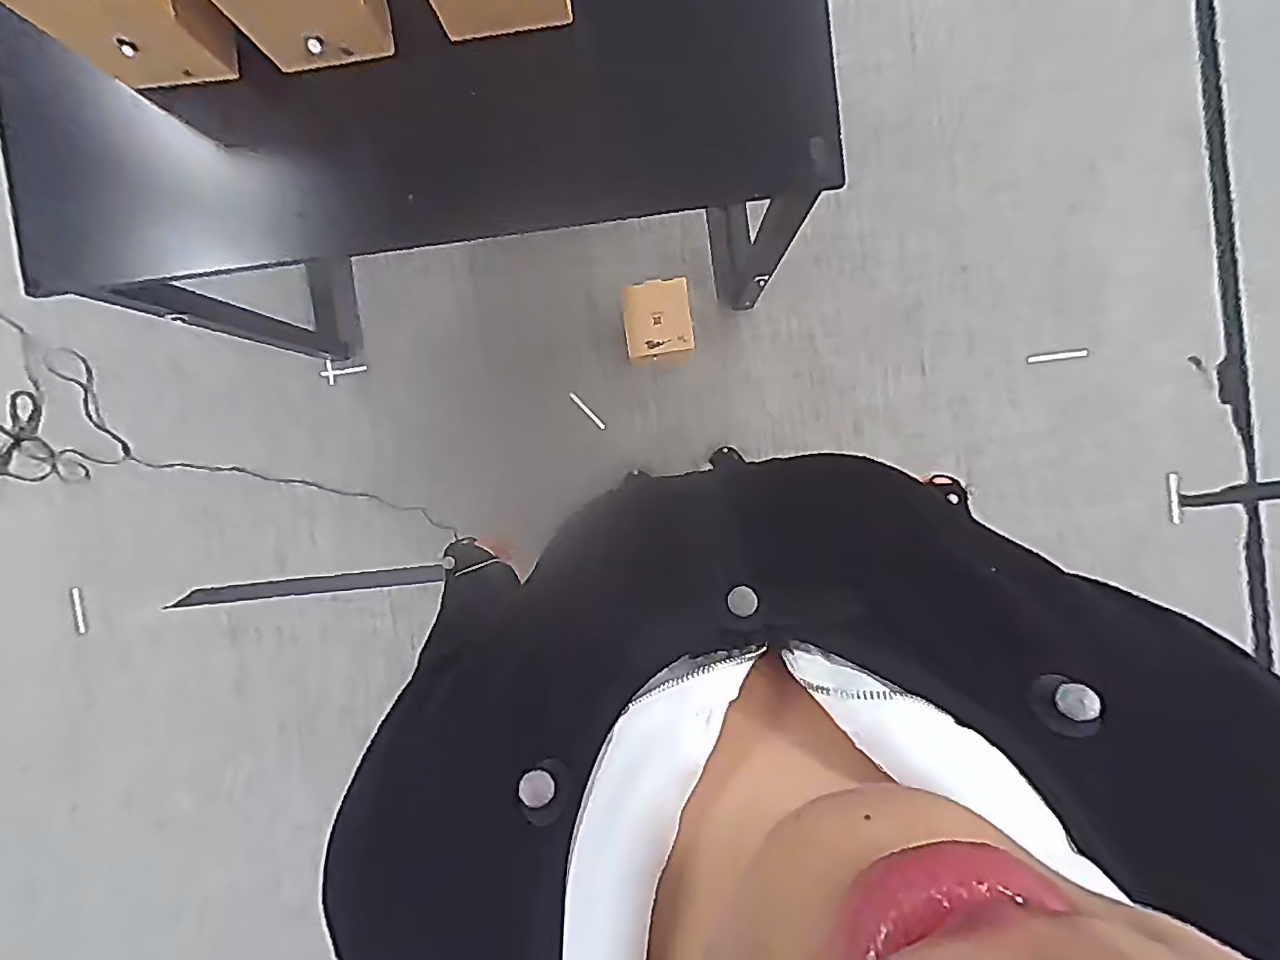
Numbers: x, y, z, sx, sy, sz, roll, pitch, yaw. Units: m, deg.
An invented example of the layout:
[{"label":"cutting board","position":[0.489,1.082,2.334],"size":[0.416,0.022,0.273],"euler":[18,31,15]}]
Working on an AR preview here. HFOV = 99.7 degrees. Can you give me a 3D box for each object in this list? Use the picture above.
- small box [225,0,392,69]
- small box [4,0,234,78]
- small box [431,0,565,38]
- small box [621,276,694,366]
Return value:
[{"label":"small box","position":[-0.440,-0.672,0.680],"size":[0.168,0.176,0.179],"euler":[-8,94,3]},{"label":"small box","position":[-0.663,-0.653,0.692],"size":[0.168,0.176,0.179],"euler":[-4,93,2]},{"label":"small box","position":[-0.193,-0.702,0.670],"size":[0.179,0.176,0.168],"euler":[-6,92,4]},{"label":"small box","position":[0.045,-0.405,1.403],"size":[0.168,0.176,0.179],"euler":[-7,92,4]}]
